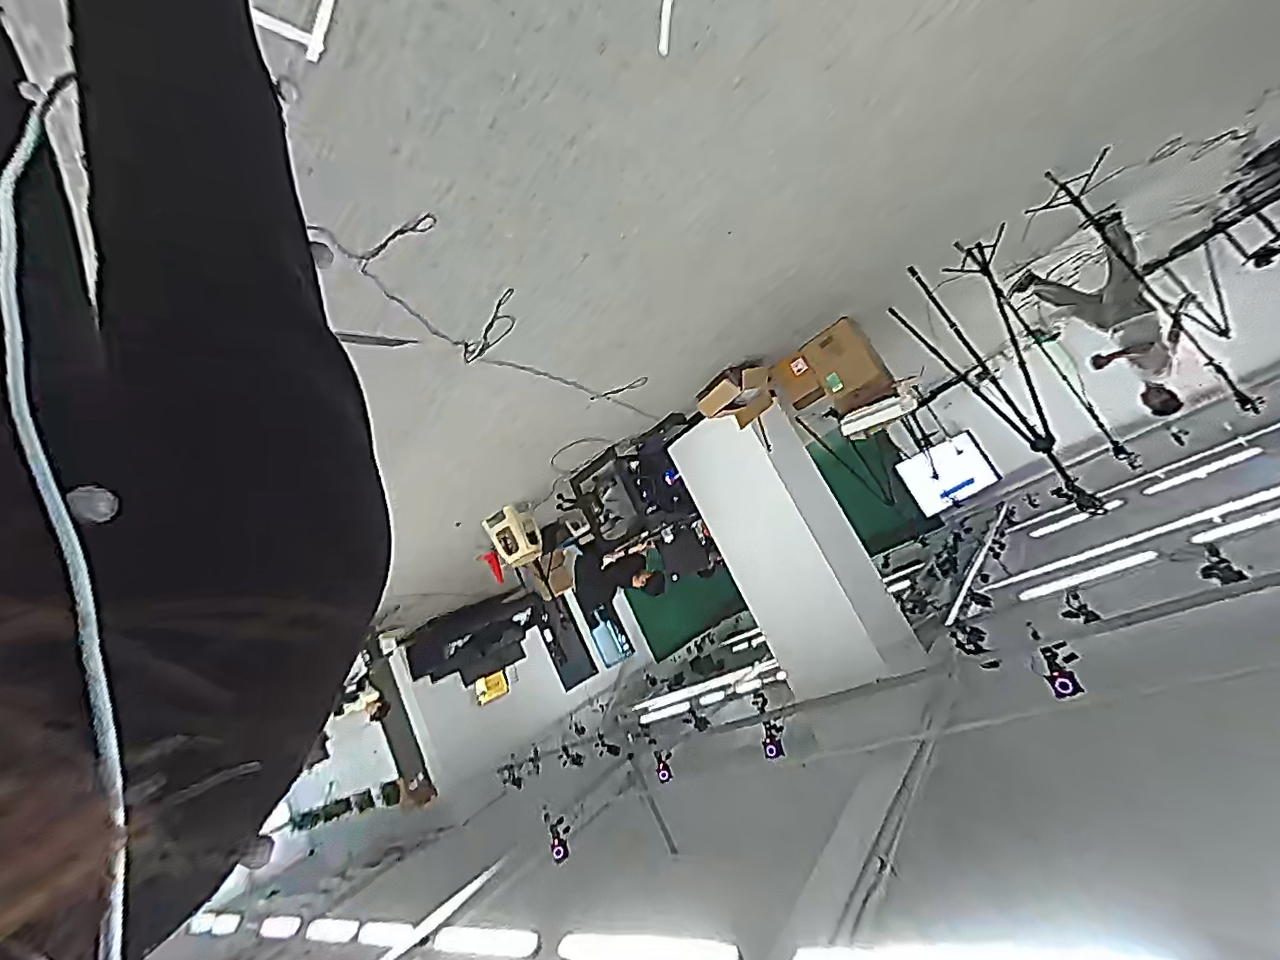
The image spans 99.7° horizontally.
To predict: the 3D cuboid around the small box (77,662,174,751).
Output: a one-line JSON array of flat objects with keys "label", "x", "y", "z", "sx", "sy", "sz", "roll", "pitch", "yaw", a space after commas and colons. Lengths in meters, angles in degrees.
[{"label": "small box", "x": -1.540, "y": 0.671, "z": 1.615, "sx": 0.168, "sy": 0.176, "sz": 0.179, "roll": -34, "pitch": 166, "yaw": 33}]
